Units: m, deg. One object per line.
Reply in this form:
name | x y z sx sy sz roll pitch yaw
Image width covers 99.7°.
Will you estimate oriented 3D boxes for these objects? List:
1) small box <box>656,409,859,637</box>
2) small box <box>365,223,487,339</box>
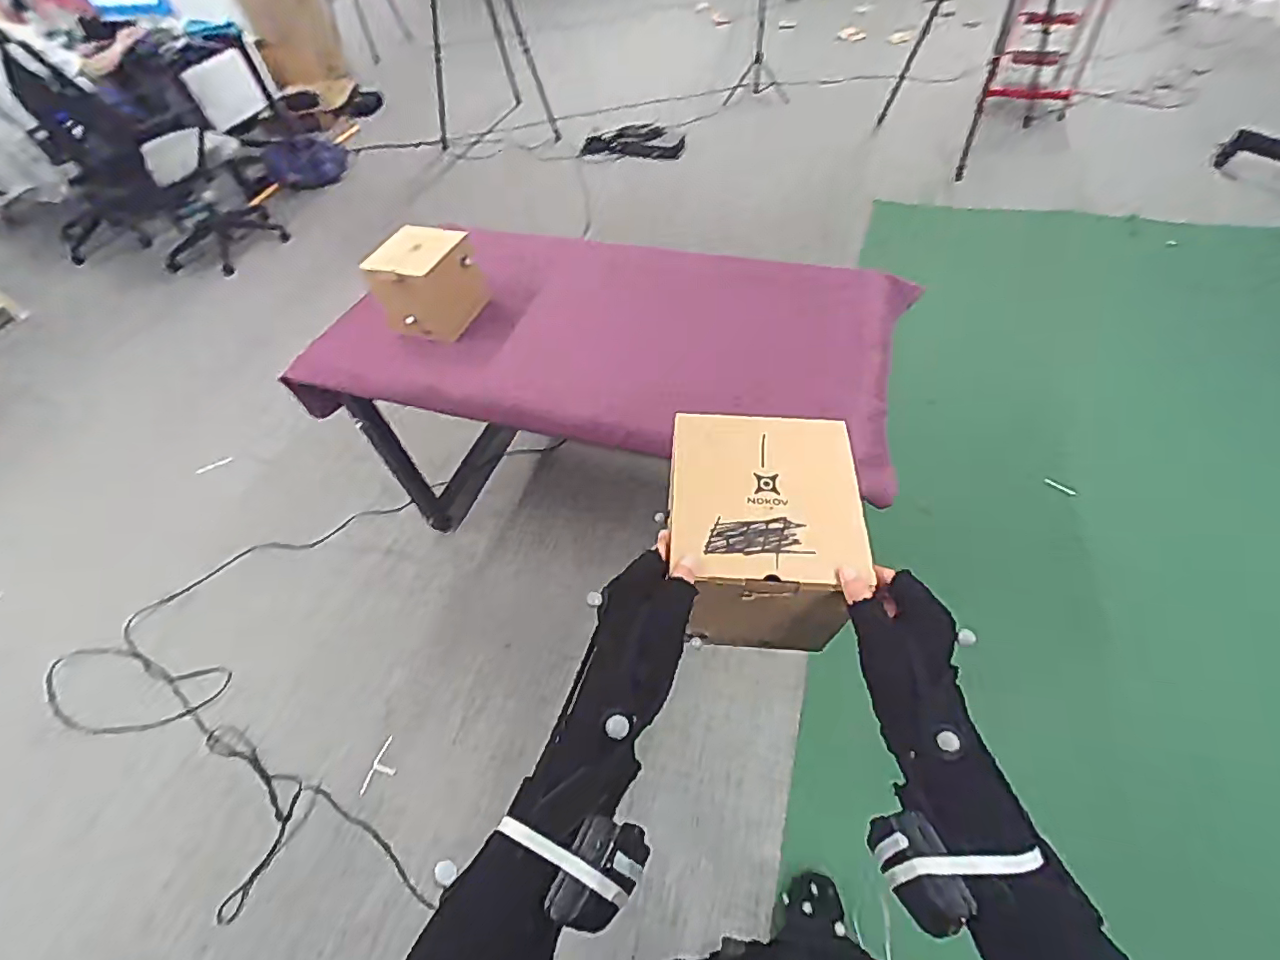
small box | 0.102 0.049 0.548 0.168 0.176 0.179 2 56 2
small box | -0.465 -0.445 1.213 0.168 0.176 0.179 13 56 16
